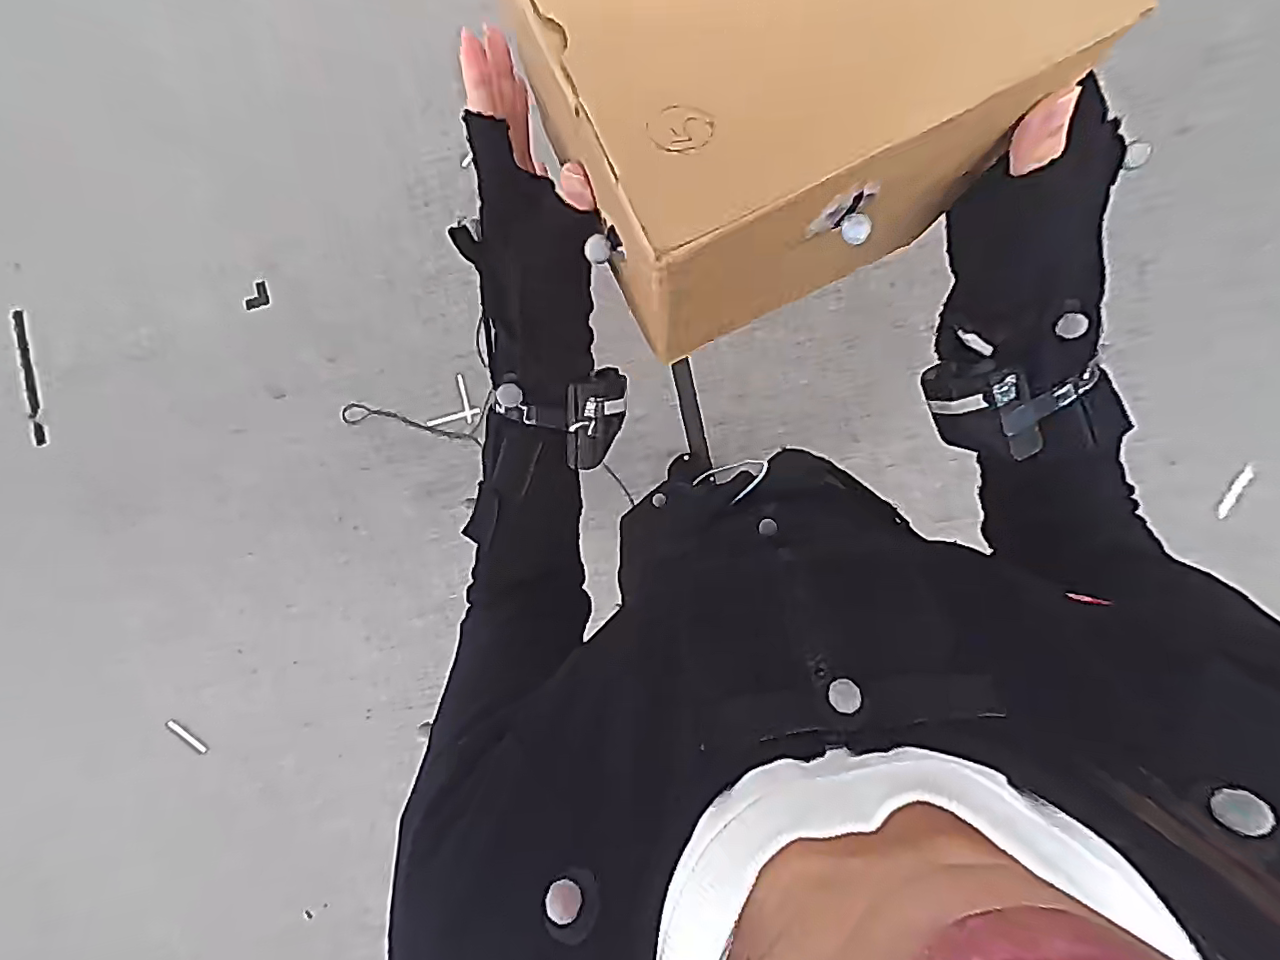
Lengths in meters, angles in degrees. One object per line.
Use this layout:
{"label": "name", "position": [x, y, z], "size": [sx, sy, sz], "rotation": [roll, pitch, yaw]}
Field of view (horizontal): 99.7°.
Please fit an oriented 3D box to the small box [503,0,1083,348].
{"label": "small box", "position": [0.050, -0.190, 0.276], "size": [0.179, 0.176, 0.168], "rotation": [-26, 88, 3]}
